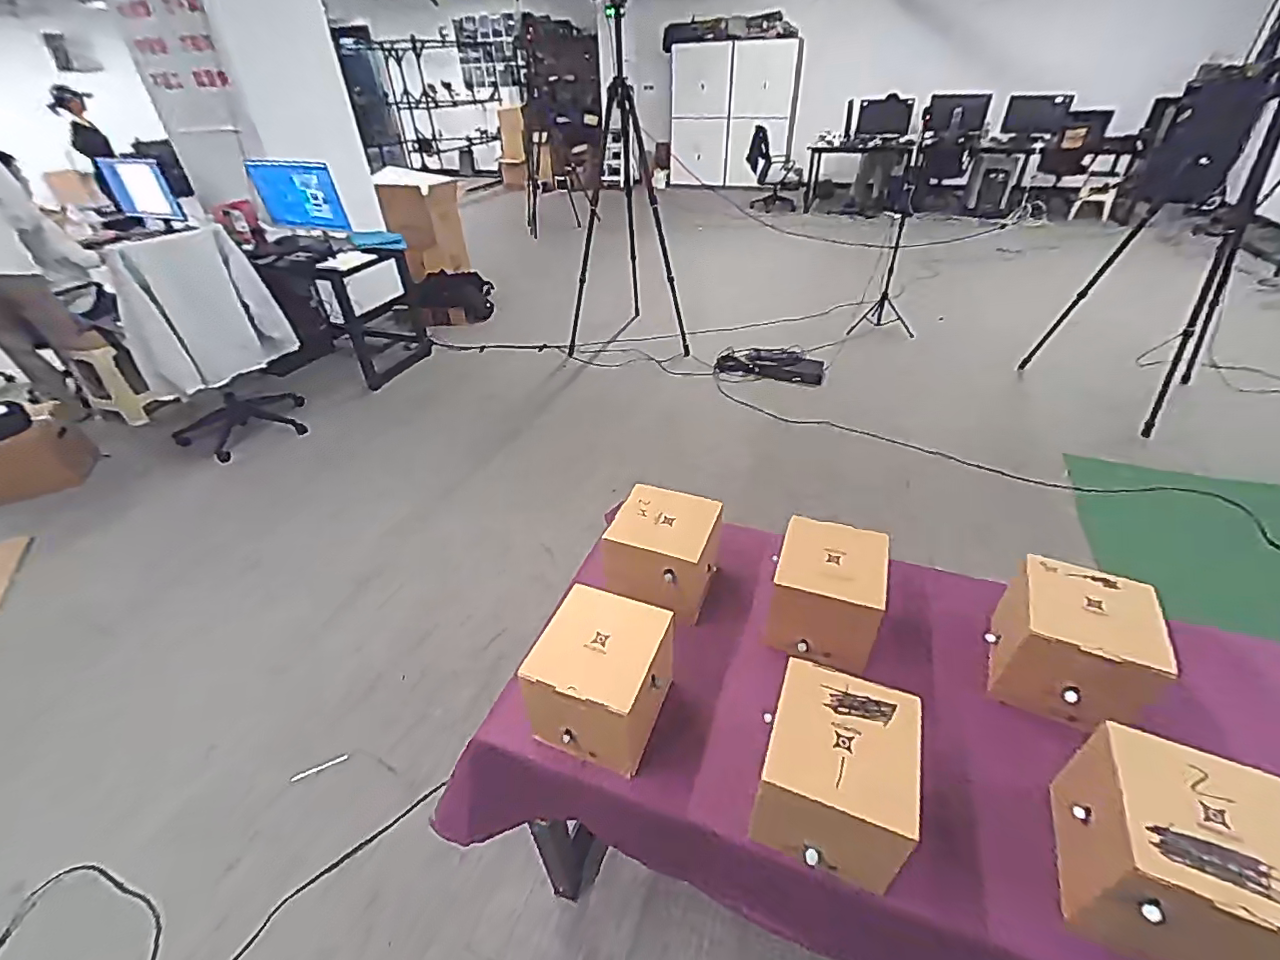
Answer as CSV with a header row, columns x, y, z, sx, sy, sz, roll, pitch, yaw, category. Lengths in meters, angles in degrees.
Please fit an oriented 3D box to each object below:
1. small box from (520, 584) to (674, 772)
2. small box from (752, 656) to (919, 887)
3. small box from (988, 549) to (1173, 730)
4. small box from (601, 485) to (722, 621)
x,y,z,sx,sy,sz,roll,pitch,yaw,category
-0.056,0.293,0.813,0.168,0.176,0.179,12,40,19,small box
0.245,0.366,0.690,0.168,0.176,0.179,12,39,20,small box
0.653,0.242,0.826,0.168,0.176,0.179,16,42,23,small box
0.045,0.137,1.012,0.179,0.176,0.168,12,39,19,small box
